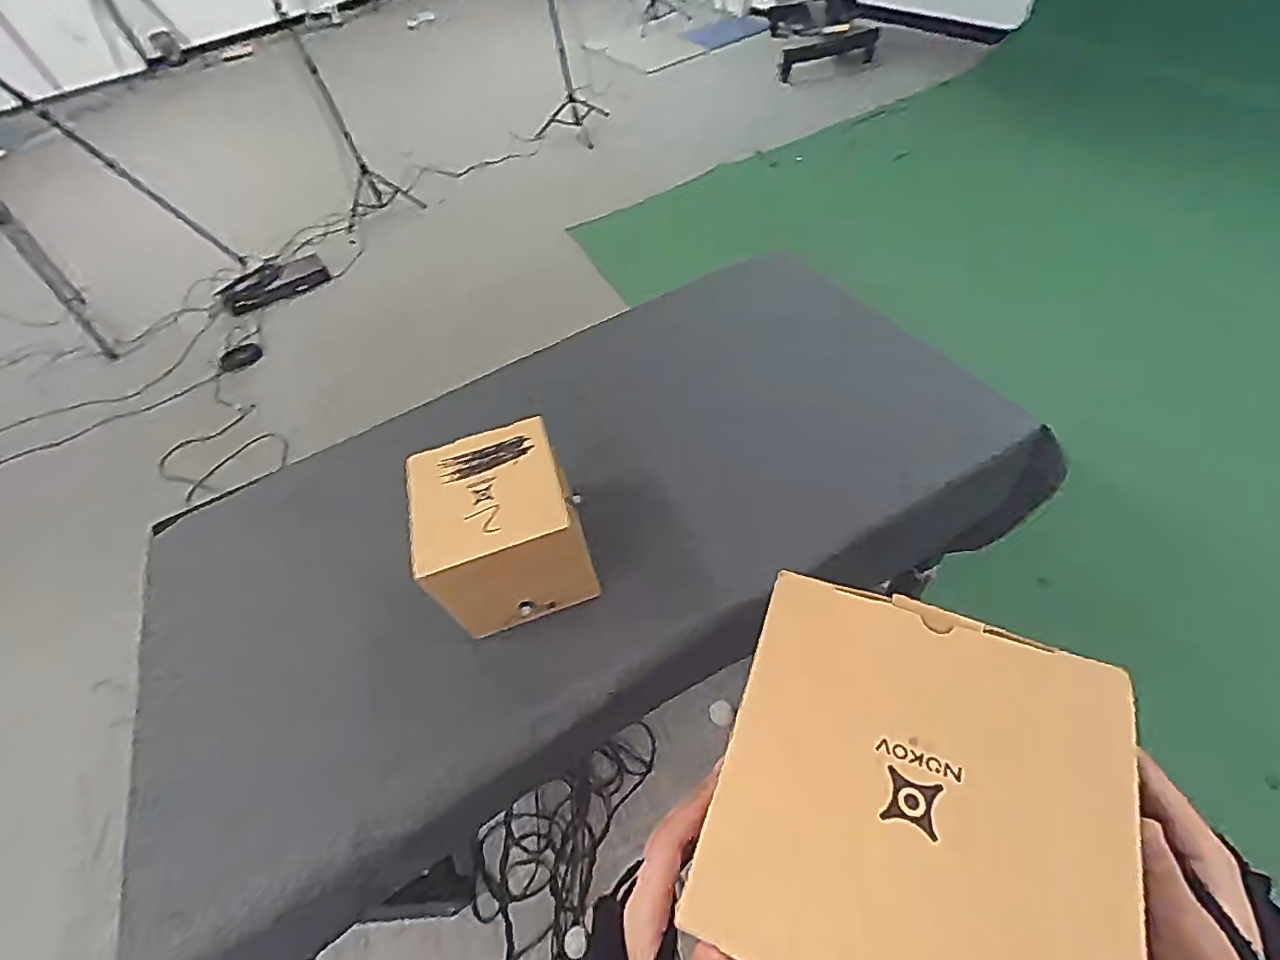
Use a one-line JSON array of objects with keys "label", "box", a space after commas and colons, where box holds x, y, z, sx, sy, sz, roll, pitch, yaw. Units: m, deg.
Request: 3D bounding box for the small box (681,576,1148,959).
[{"label": "small box", "box": [0.137, 0.187, 0.304, 0.168, 0.176, 0.179, 15, 58, 21]}]
